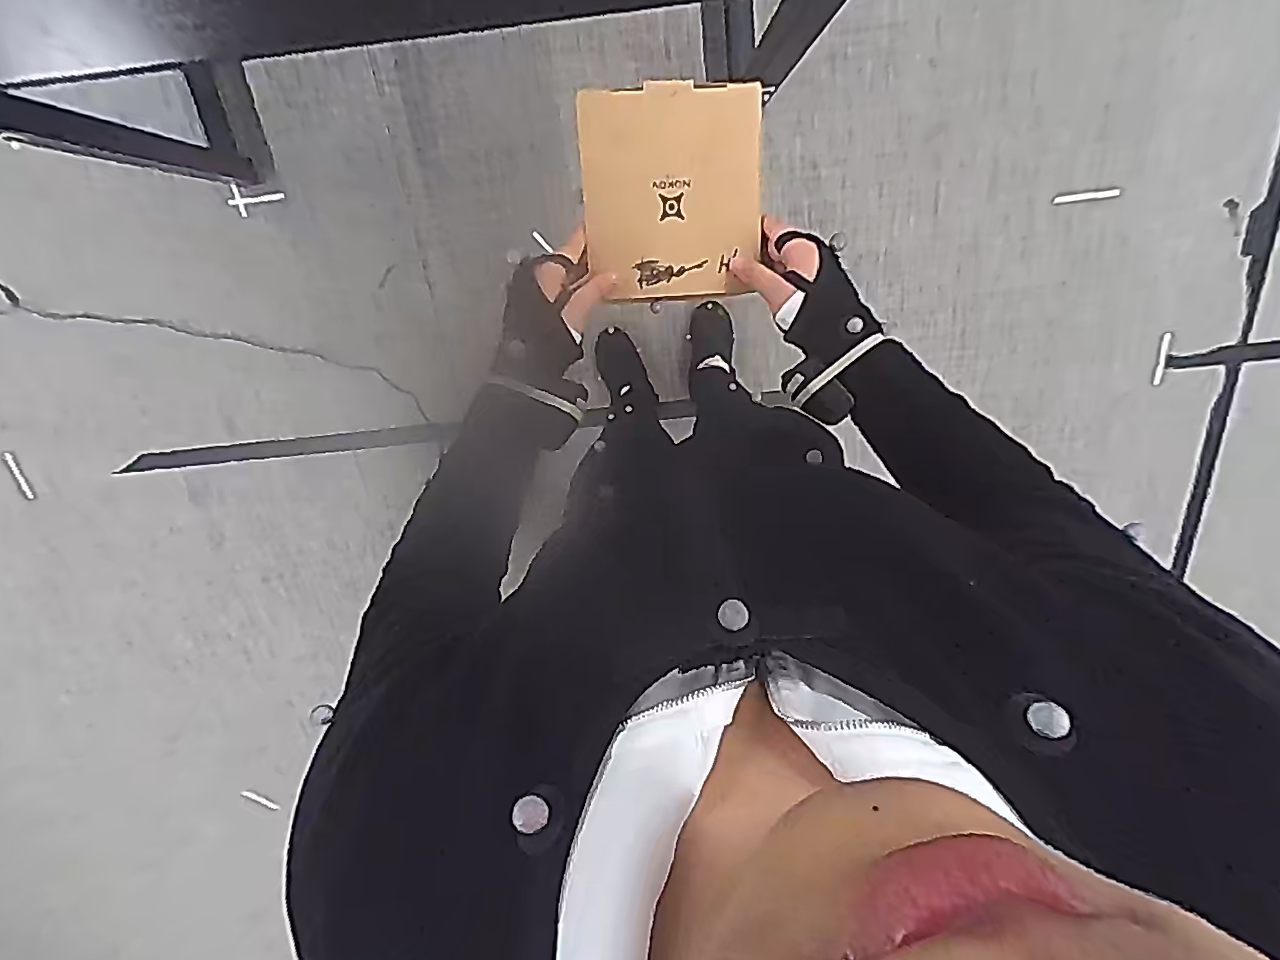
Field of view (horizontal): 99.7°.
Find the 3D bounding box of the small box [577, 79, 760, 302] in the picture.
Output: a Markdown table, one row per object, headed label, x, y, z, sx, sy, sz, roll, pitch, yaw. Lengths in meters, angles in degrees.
| label | x | y | z | sx | sy | sz | roll | pitch | yaw |
| --- | --- | --- | --- | --- | --- | --- | --- | --- | --- |
| small box | 0.024 | -0.287 | 0.573 | 0.168 | 0.176 | 0.179 | -4 | 107 | -1 |
